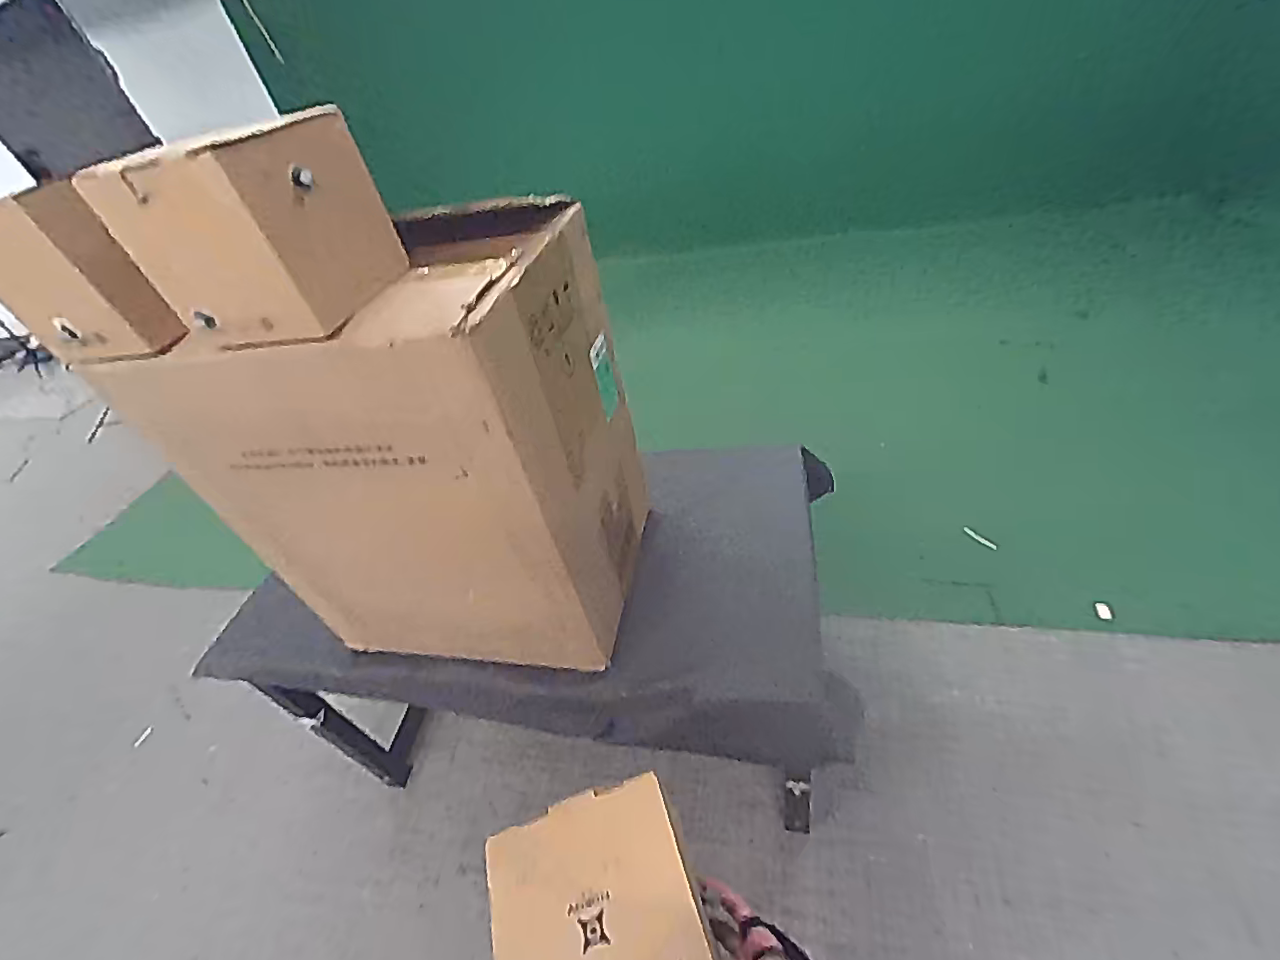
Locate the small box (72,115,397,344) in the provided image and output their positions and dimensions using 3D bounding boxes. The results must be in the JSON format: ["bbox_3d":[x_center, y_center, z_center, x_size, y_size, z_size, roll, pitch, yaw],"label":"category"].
[{"bbox_3d":[-0.391,-0.253,0.564,0.168,0.176,0.179,-1,42,14],"label":"small box"}]

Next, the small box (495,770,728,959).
[{"bbox_3d":[-0.018,0.407,0.489,0.168,0.176,0.179,-20,42,-6],"label":"small box"}]

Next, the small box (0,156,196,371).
[{"bbox_3d":[-0.613,-0.246,0.626,0.168,0.176,0.179,-2,43,18],"label":"small box"}]
